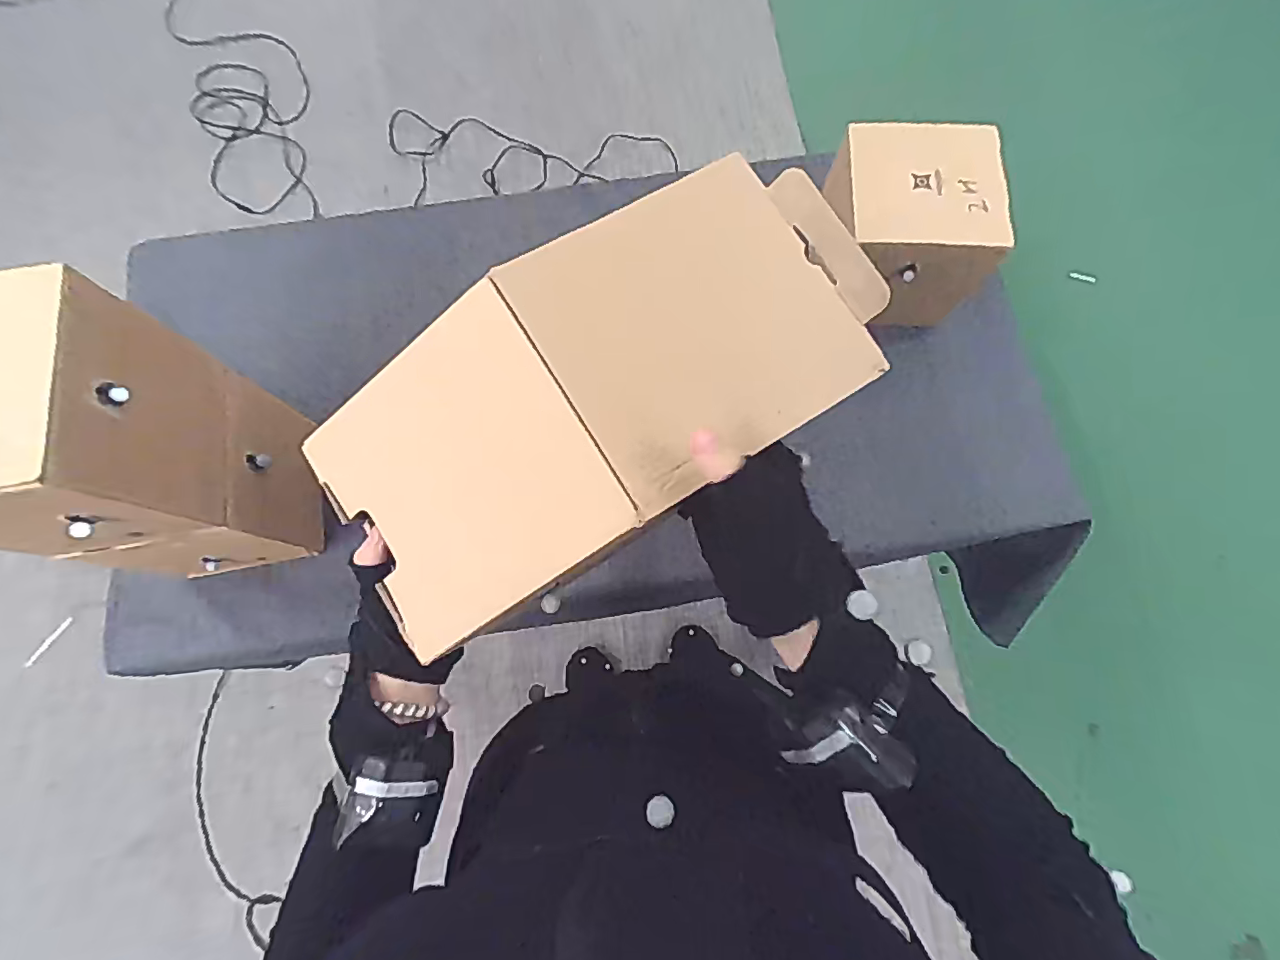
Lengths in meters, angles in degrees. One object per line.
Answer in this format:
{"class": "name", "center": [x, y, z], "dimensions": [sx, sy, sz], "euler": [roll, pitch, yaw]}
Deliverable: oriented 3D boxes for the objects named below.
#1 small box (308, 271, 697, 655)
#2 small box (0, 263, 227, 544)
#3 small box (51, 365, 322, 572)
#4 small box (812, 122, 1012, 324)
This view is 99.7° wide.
{"class": "small box", "center": [-0.081, -0.008, 0.390], "dimensions": [0.179, 0.176, 0.168], "euler": [-33, 84, 15]}
{"class": "small box", "center": [-0.488, -0.047, 0.453], "dimensions": [0.168, 0.176, 0.179], "euler": [-9, 75, -3]}
{"class": "small box", "center": [-0.487, -0.003, 0.610], "dimensions": [0.168, 0.176, 0.179], "euler": [-11, 75, -3]}
{"class": "small box", "center": [0.324, -0.314, 0.686], "dimensions": [0.179, 0.176, 0.168], "euler": [3, 76, 1]}
